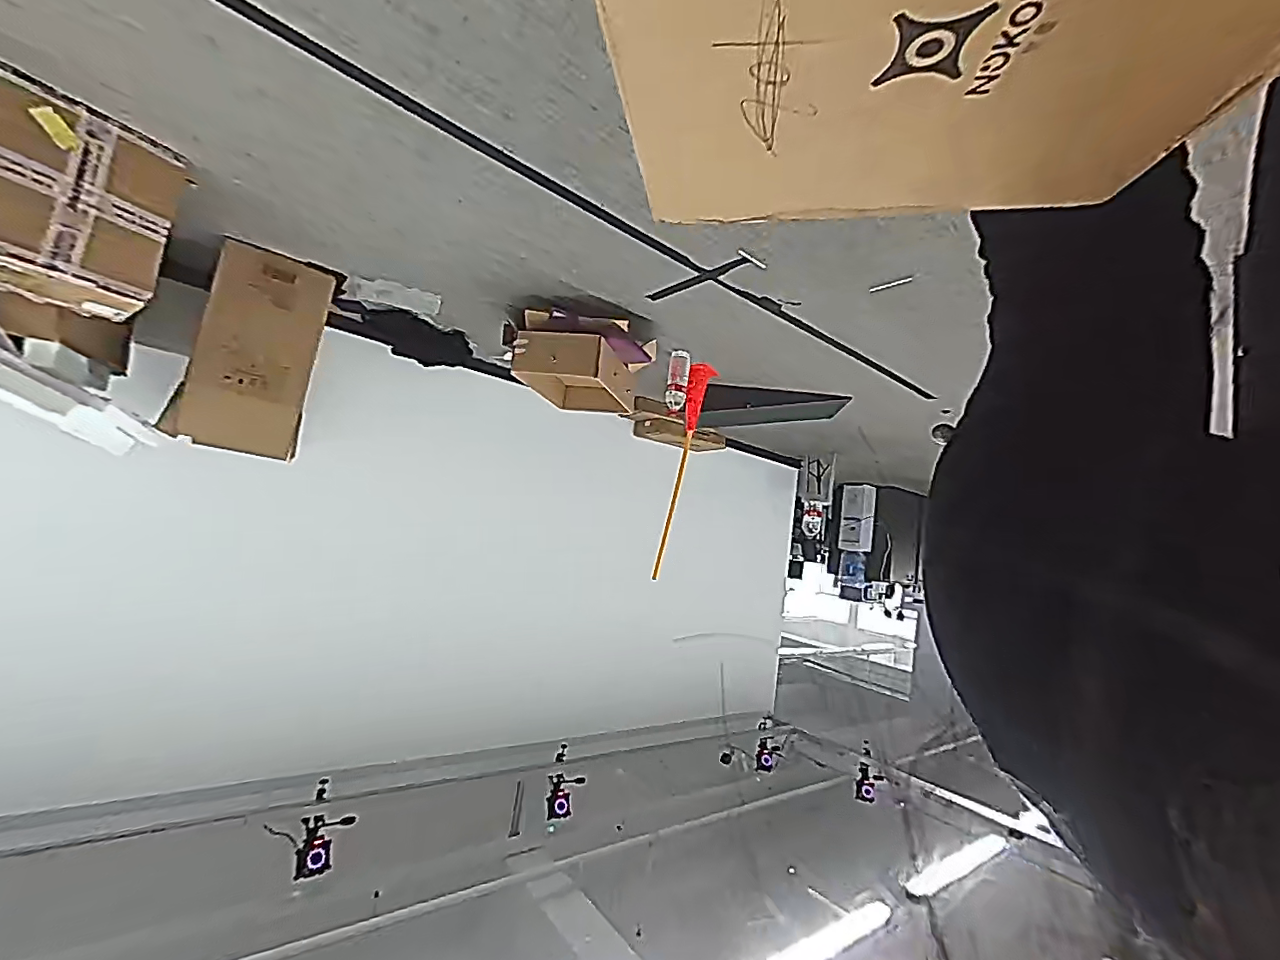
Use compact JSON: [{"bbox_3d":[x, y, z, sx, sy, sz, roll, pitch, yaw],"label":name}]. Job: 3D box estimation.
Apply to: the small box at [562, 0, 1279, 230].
[{"bbox_3d":[0.074,-0.187,0.137,0.179,0.176,0.168,3,179,9],"label":"small box"}]
